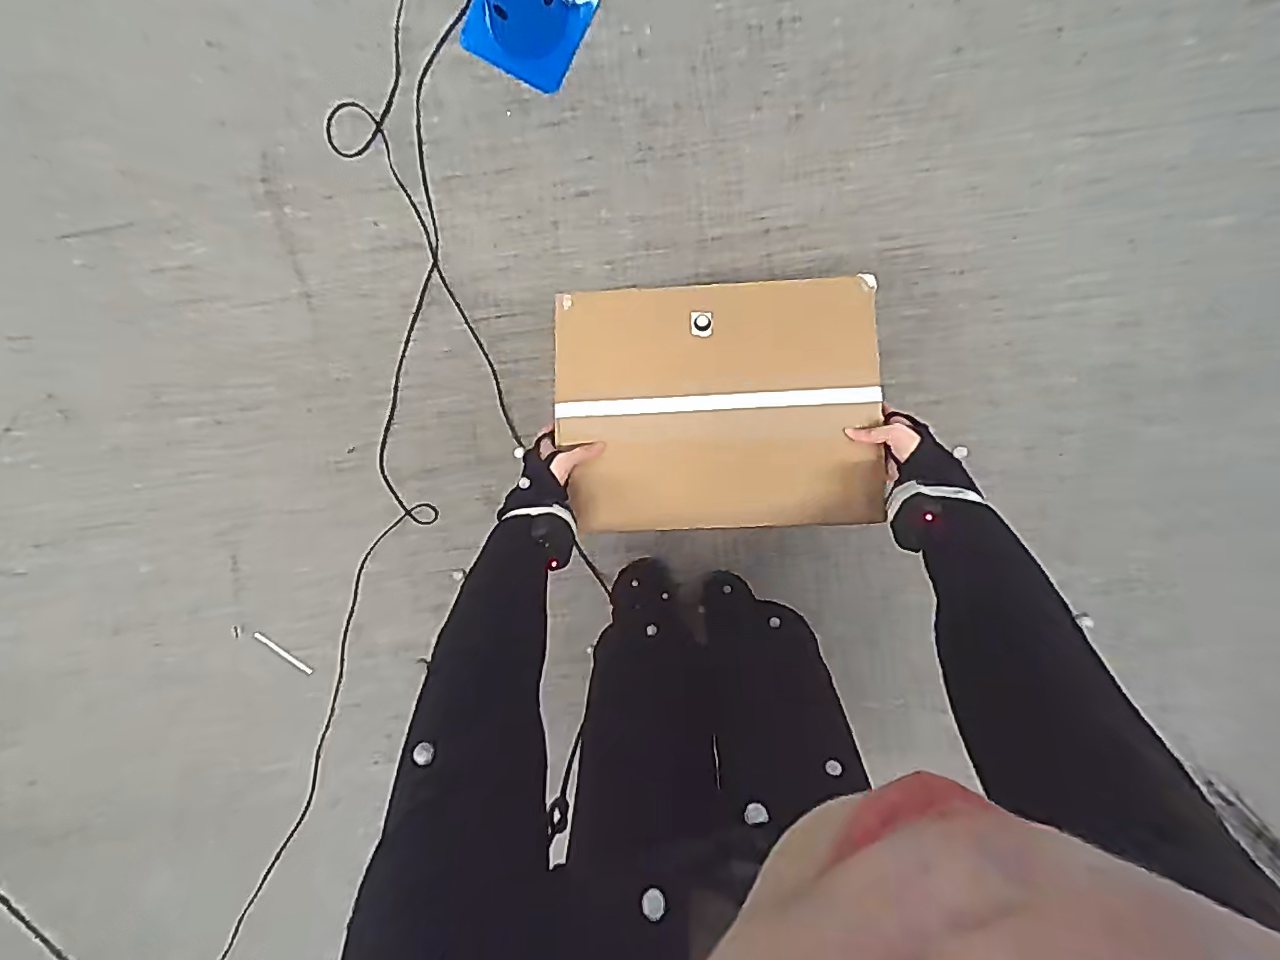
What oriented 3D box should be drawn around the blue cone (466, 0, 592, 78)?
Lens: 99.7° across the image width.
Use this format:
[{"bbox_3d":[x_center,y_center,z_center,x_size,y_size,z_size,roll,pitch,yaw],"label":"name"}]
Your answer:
[{"bbox_3d":[-0.196,-0.802,0.772,0.192,0.380,0.193,26,96,-2],"label":"blue cone"}]
